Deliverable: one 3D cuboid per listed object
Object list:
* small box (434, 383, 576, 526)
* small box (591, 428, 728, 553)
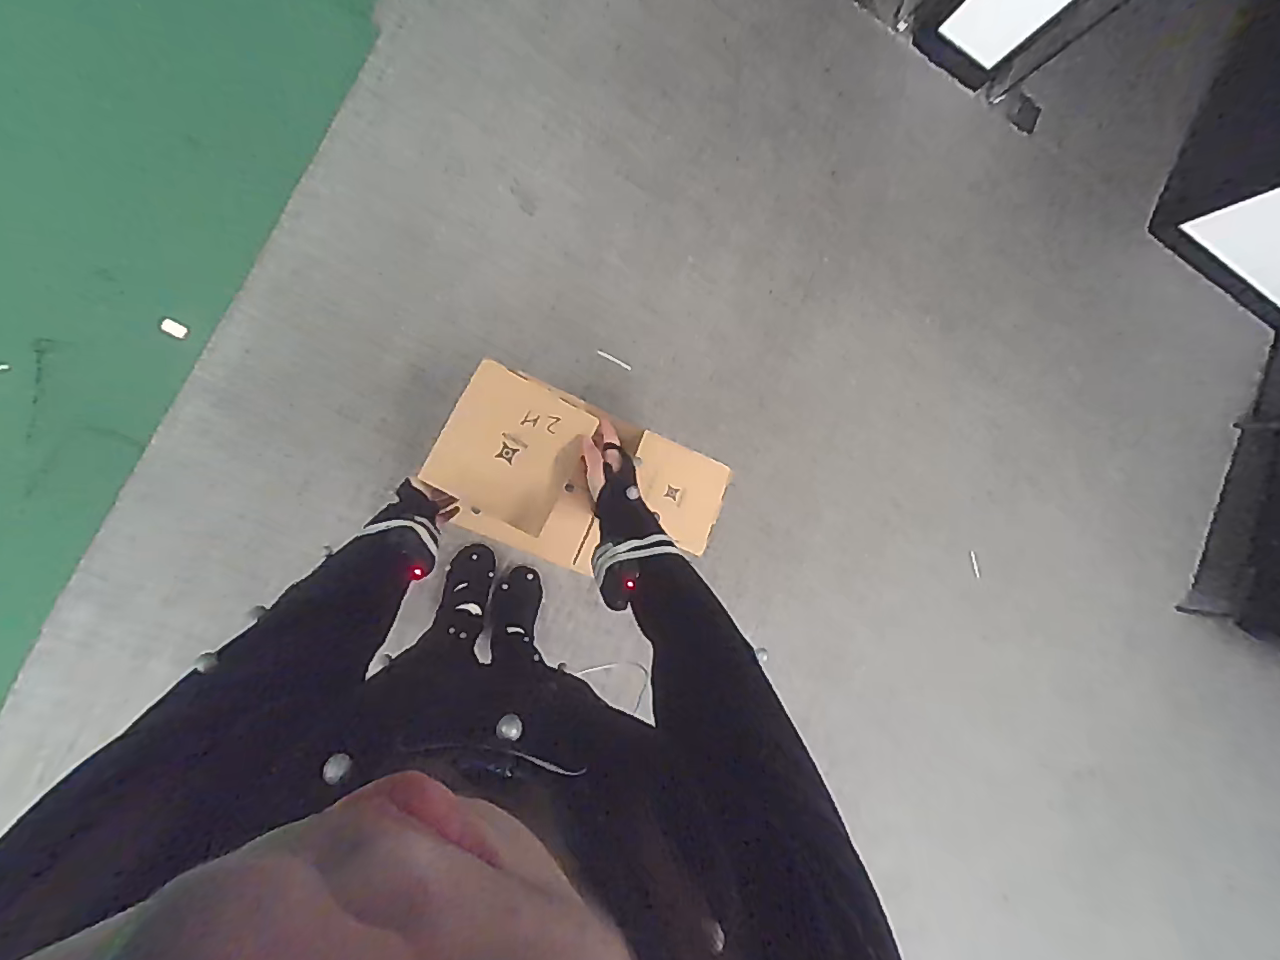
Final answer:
[{"bbox_3d":[-0.227,-0.039,0.922,0.168,0.176,0.179,26,83,-14],"label":"small box"},{"bbox_3d":[0.028,0.019,0.995,0.179,0.176,0.168,24,82,-12],"label":"small box"}]
